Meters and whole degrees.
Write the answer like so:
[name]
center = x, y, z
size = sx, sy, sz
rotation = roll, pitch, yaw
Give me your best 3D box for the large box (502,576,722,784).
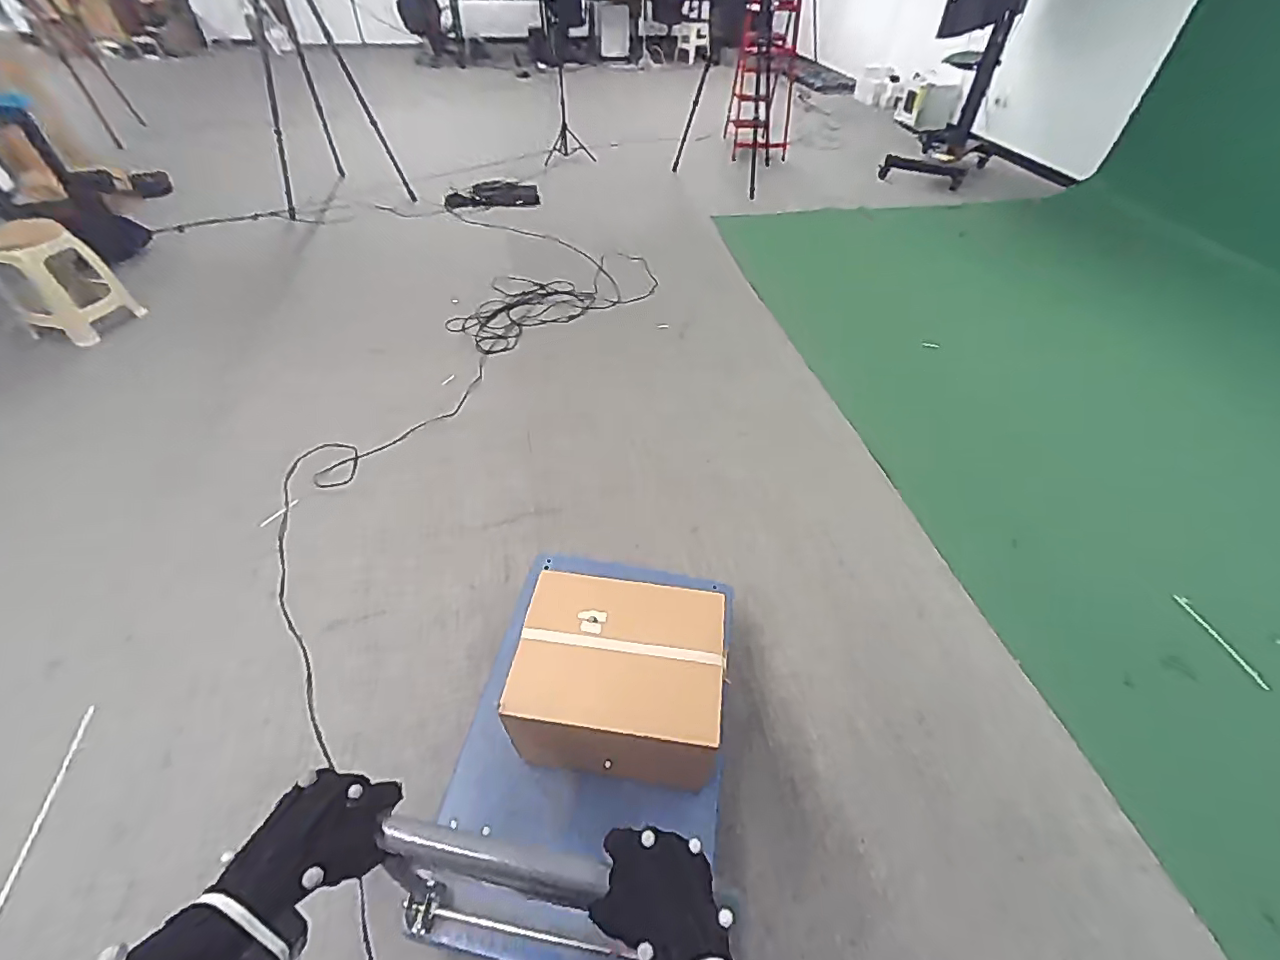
[large box]
center = -0.036, 0.439, 1.184
size = 0.408, 0.320, 0.320
rotation = 6, 47, 6
